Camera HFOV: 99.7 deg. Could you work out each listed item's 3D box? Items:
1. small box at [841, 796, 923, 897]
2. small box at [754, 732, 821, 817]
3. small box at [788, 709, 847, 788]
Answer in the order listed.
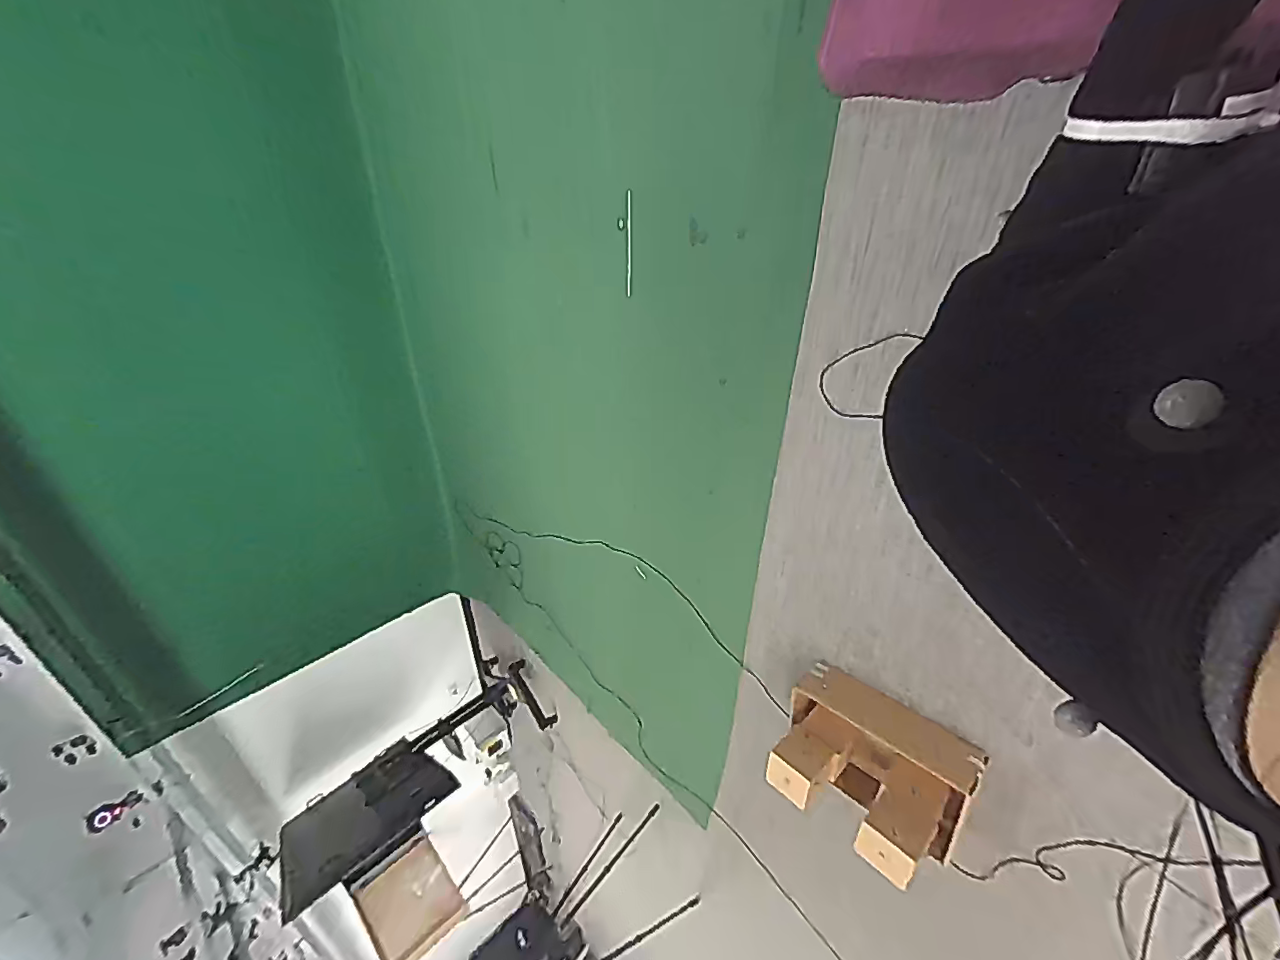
[{"bbox_3d":[0.786,1.180,1.755,0.179,0.176,0.168,28,127,39],"label":"small box"},{"bbox_3d":[0.540,1.069,1.977,0.168,0.176,0.179,28,129,39],"label":"small box"},{"bbox_3d":[0.669,1.021,2.070,0.179,0.176,0.168,26,128,38],"label":"small box"}]
